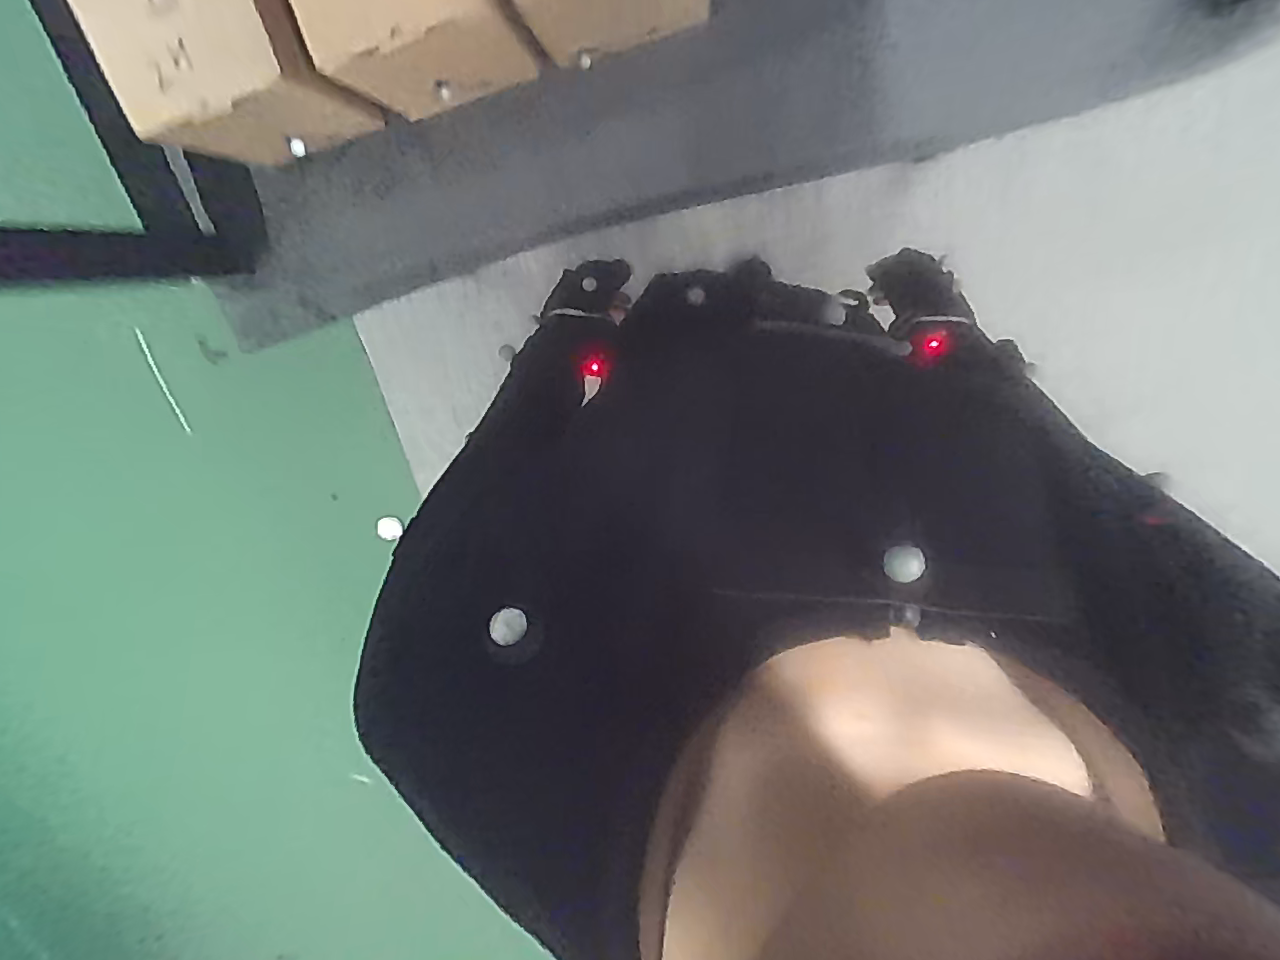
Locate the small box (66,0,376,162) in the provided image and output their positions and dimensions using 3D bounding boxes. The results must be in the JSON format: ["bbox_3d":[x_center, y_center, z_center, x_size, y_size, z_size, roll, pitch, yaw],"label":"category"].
[{"bbox_3d":[-0.403,-0.443,0.532,0.168,0.176,0.179,-11,110,11],"label":"small box"}]

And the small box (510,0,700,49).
[{"bbox_3d":[-0.041,-0.512,0.465,0.168,0.176,0.179,-11,109,10],"label":"small box"}]
